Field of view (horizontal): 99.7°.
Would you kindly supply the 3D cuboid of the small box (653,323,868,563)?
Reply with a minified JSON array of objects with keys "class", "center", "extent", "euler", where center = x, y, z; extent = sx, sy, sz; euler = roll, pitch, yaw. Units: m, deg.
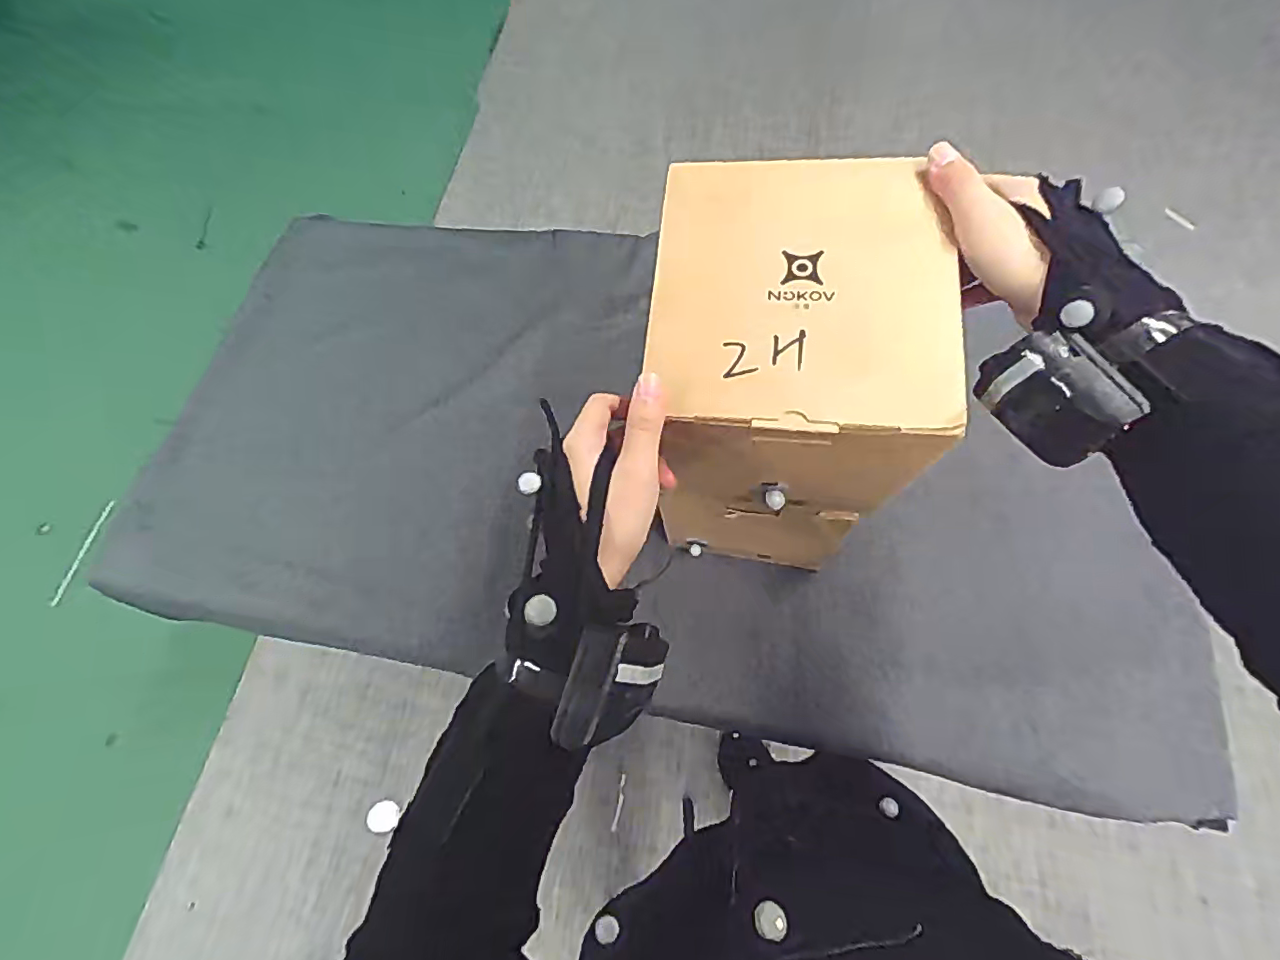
[{"class":"small box","center":[0.117,-0.028,0.539],"extent":[0.168,0.176,0.179],"euler":[8,68,11]}]
